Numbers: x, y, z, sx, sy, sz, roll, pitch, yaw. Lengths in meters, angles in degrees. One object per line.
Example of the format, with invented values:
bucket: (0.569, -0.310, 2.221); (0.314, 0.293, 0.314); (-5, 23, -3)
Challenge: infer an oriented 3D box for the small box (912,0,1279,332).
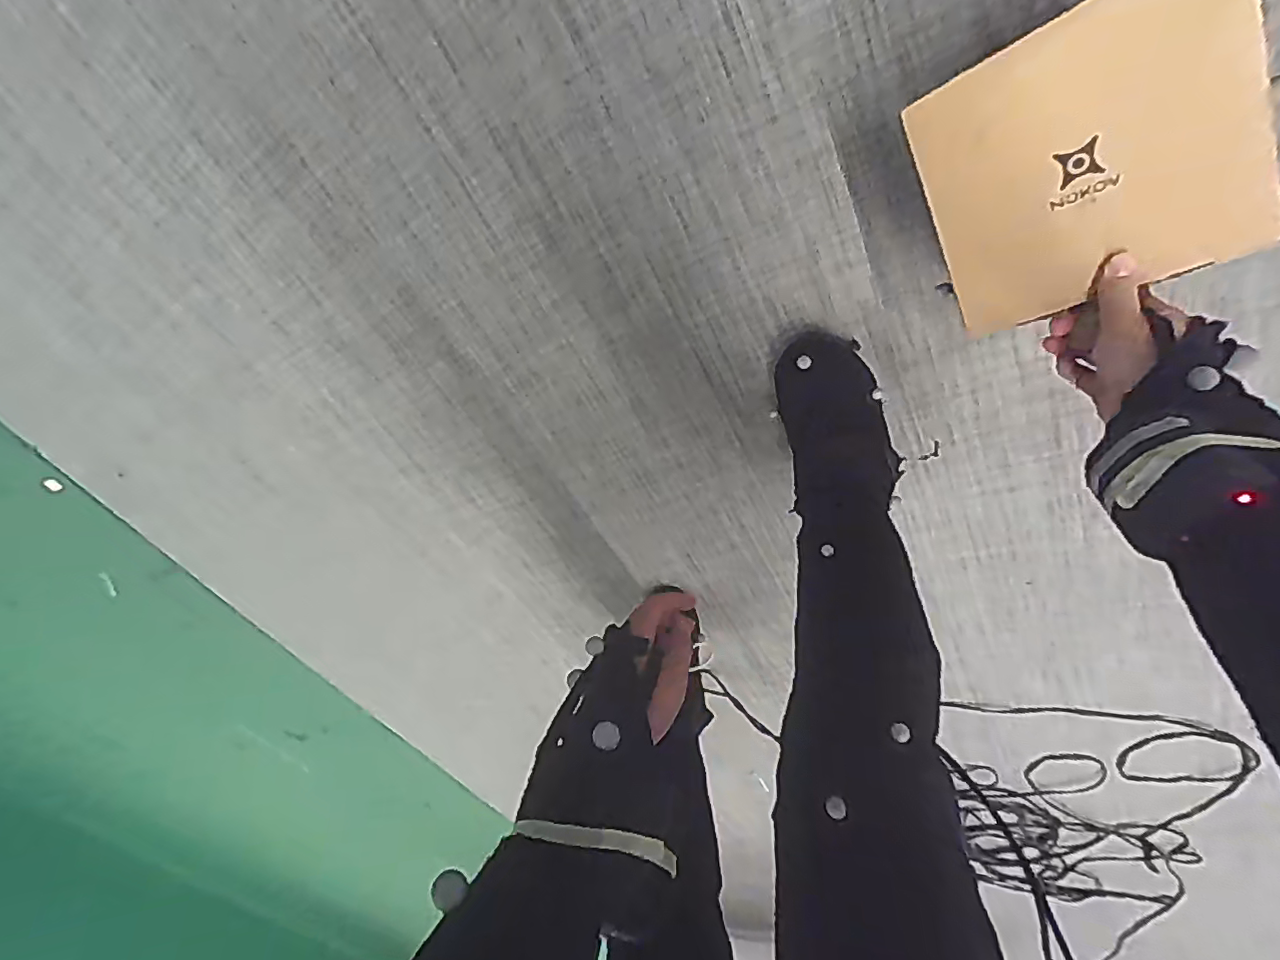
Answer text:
small box: (0.314, -0.239, 0.395); (0.168, 0.176, 0.179); (-15, 112, 38)
